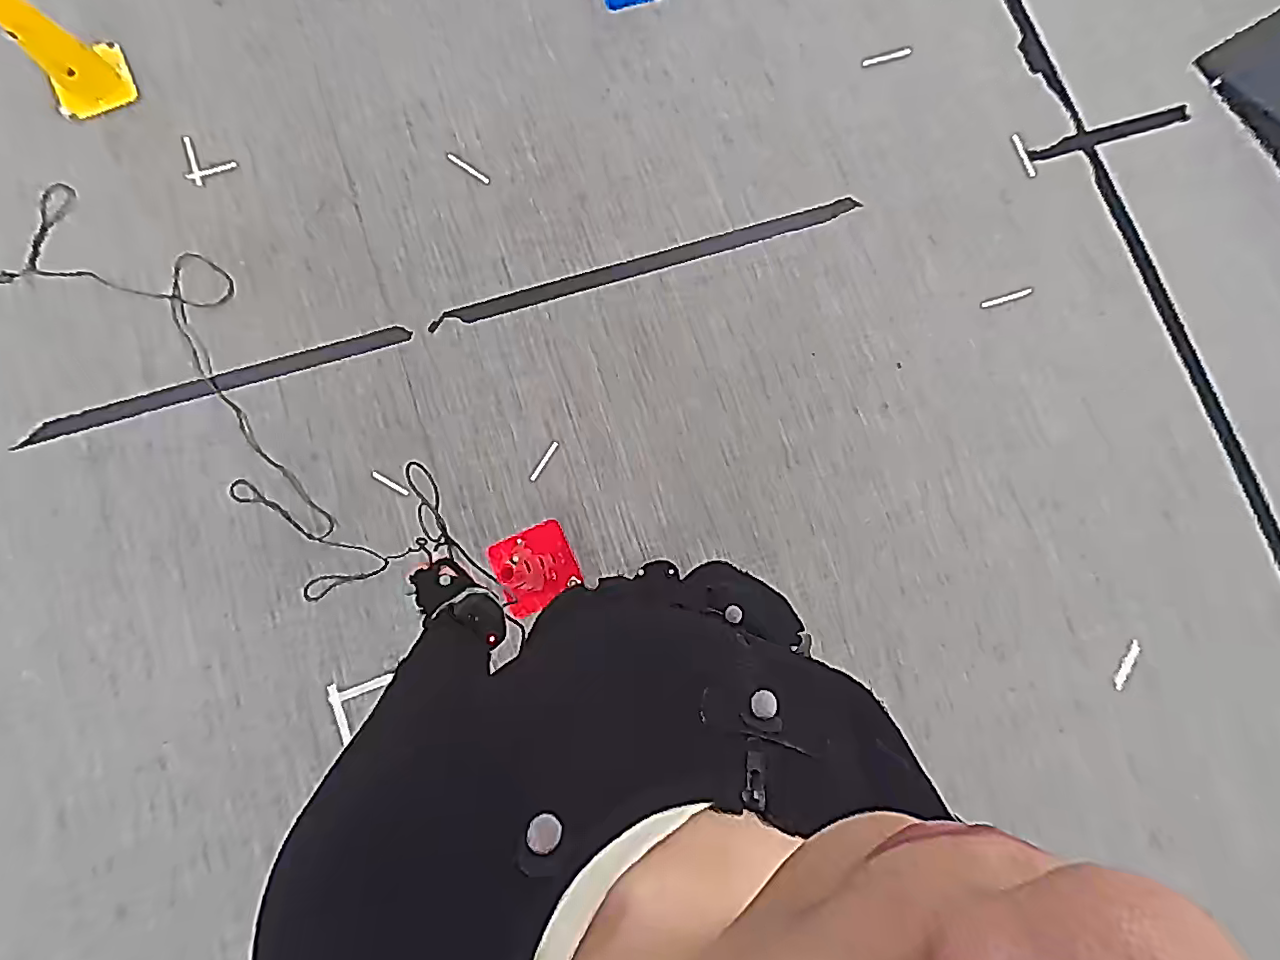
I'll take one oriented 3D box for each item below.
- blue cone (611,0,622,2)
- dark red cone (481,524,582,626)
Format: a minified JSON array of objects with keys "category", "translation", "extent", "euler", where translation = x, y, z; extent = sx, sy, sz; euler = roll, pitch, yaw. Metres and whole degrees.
[{"category":"blue cone","translation":[-0.032,-1.519,1.424],"extent":[0.193,0.380,0.192],"euler":[-17,82,-4]},{"category":"dark red cone","translation":[-0.260,0.206,1.155],"extent":[0.202,0.394,0.201],"euler":[-25,83,-5]}]
